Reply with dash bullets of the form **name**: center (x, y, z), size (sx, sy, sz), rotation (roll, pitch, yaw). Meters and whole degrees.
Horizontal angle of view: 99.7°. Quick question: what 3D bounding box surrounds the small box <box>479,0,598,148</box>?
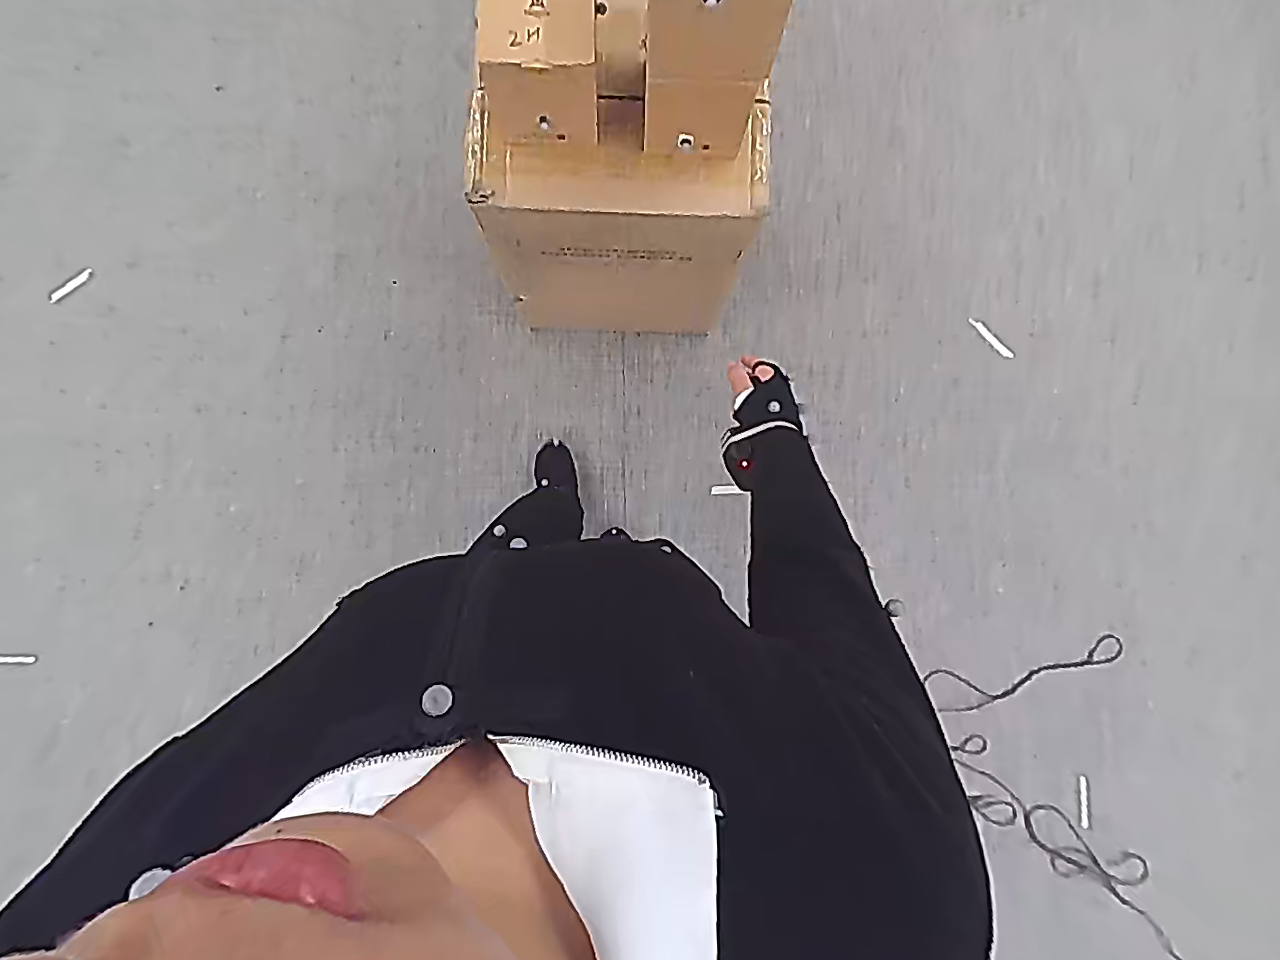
- **small box**: center (-0.152, -0.665, 0.852), size (0.168, 0.176, 0.179), rotation (0, 87, -3)

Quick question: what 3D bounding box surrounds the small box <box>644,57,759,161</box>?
- **small box**: center (0.091, -0.648, 0.863), size (0.168, 0.176, 0.179), rotation (1, 88, 0)

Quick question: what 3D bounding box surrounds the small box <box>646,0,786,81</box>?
- **small box**: center (0.097, -0.657, 0.699), size (0.179, 0.176, 0.168), rotation (1, 87, -1)
